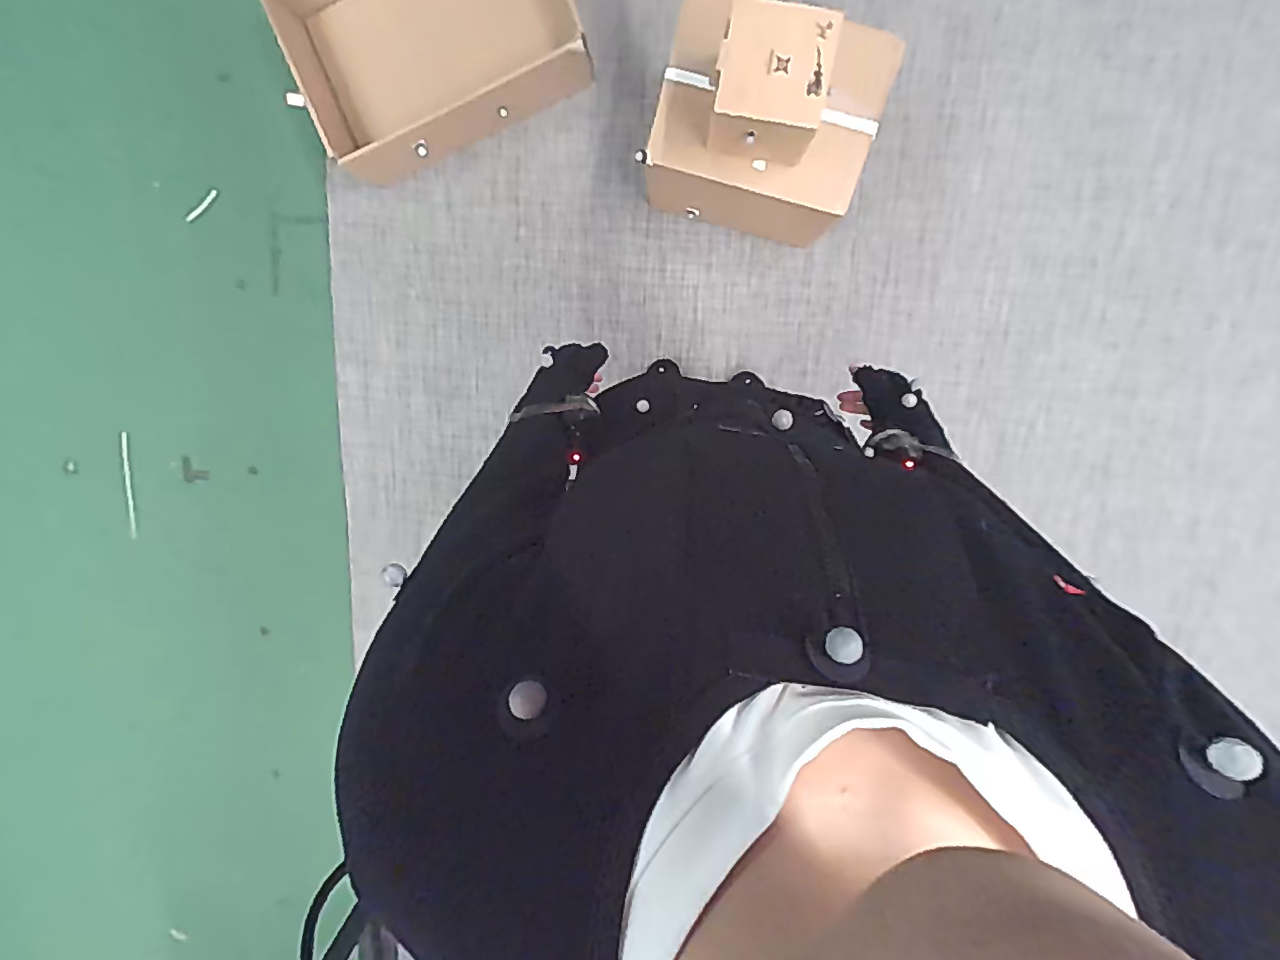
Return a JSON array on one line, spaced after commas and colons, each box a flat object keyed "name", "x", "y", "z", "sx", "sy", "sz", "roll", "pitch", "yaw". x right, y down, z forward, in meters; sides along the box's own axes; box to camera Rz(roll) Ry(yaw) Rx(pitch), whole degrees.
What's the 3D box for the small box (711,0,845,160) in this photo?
[{"name": "small box", "x": 0.220, "y": -0.671, "z": 0.920, "sx": 0.179, "sy": 0.176, "sz": 0.168, "roll": 11, "pitch": 103, "yaw": 3}]
